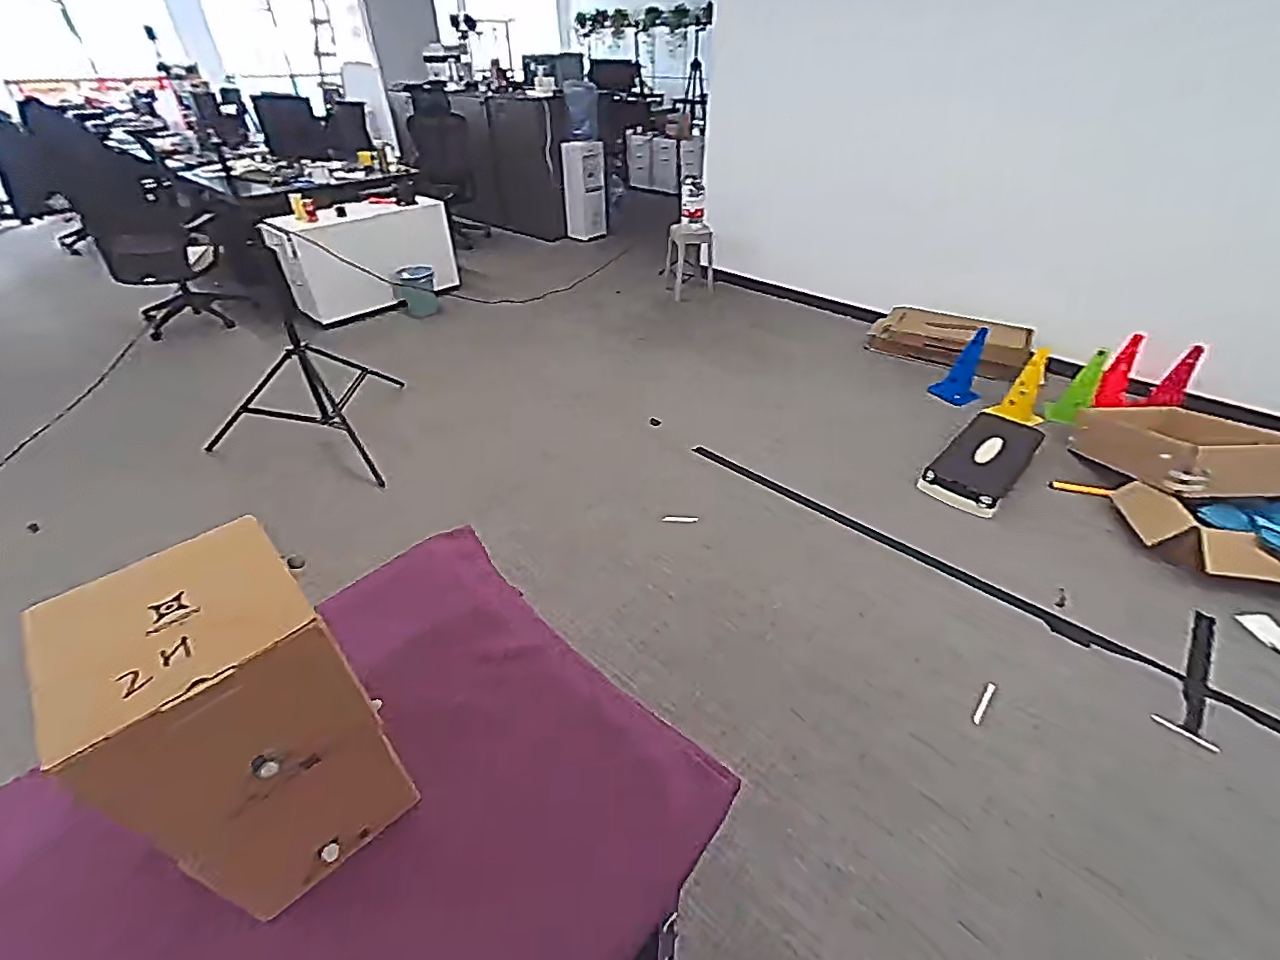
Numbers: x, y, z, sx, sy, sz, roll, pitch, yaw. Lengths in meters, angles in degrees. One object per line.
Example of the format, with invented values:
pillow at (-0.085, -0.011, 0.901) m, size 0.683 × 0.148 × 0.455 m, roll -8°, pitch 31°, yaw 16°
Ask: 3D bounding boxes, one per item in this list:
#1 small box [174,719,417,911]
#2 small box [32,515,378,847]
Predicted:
small box at (-0.365, 0.299, 0.572) m, size 0.168 × 0.176 × 0.179 m, roll -31°, pitch 48°, yaw -33°
small box at (-0.363, 0.168, 0.472) m, size 0.168 × 0.176 × 0.179 m, roll -32°, pitch 48°, yaw -33°
